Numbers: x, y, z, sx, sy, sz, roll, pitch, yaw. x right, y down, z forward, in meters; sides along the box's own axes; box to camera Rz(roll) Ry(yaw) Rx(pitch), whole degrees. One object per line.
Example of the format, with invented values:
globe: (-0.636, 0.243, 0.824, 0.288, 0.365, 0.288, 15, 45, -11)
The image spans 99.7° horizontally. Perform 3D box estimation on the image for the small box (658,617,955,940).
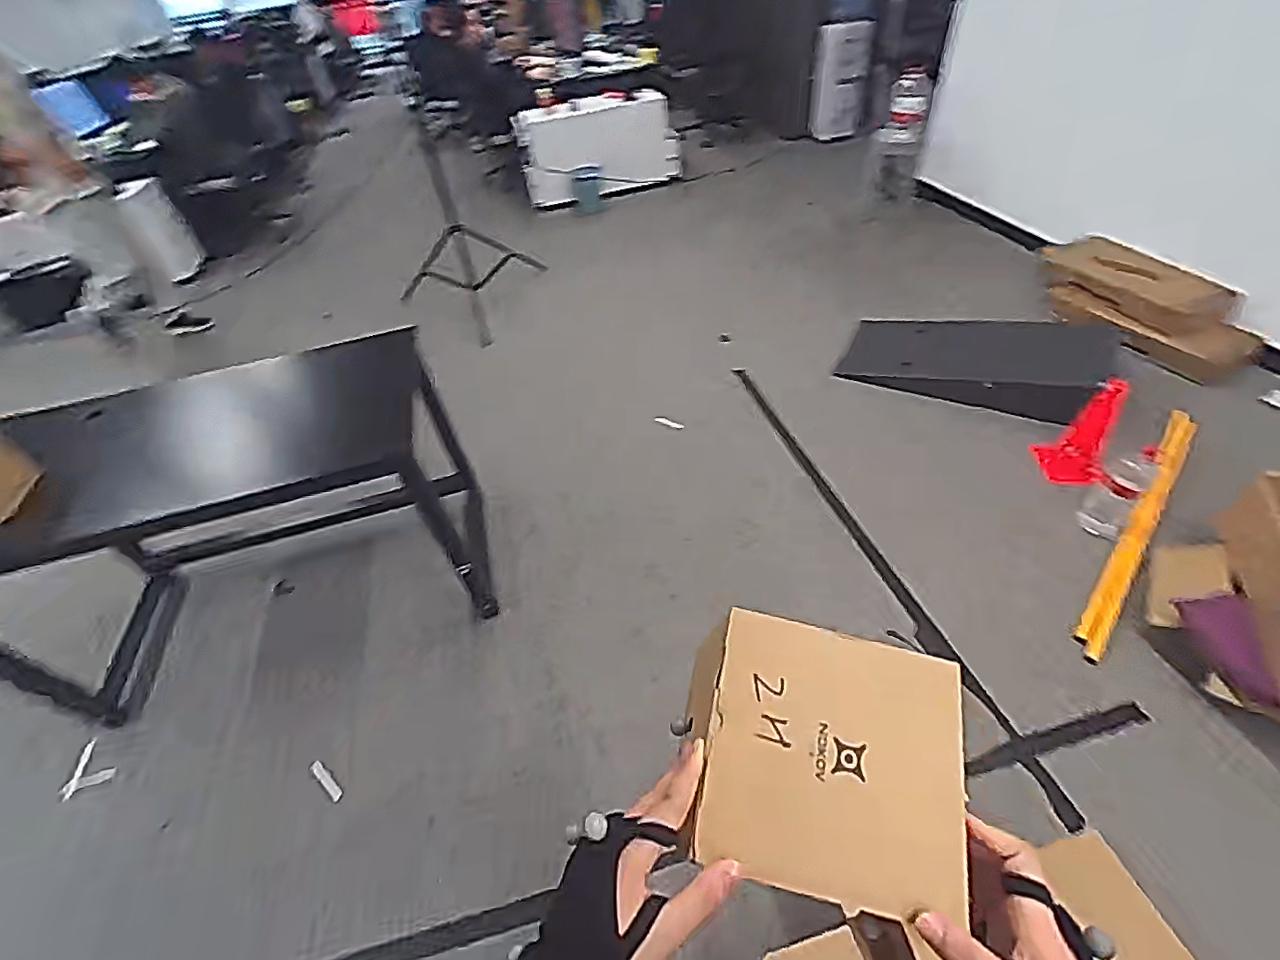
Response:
small box: (0.119, 0.228, 0.438, 0.179, 0.176, 0.168, 12, 61, 4)

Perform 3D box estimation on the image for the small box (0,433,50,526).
small box: (-1.494, 0.008, 1.187, 0.179, 0.176, 0.168, -17, 46, -8)
